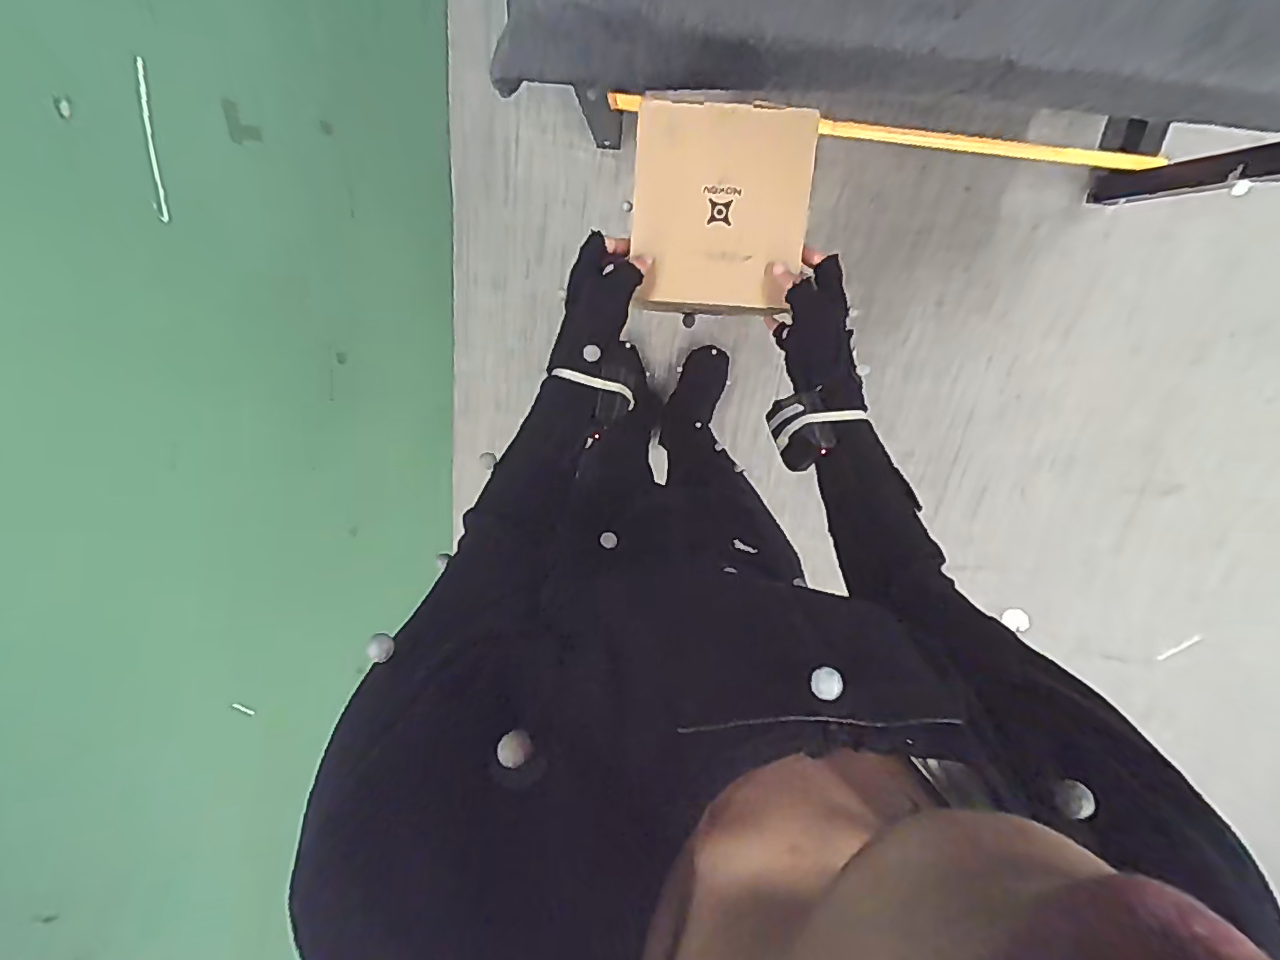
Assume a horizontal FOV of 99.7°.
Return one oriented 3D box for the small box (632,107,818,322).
[{"bbox_3d":[0.081,-0.274,0.596,0.168,0.176,0.179,4,104,2],"label":"small box"}]
